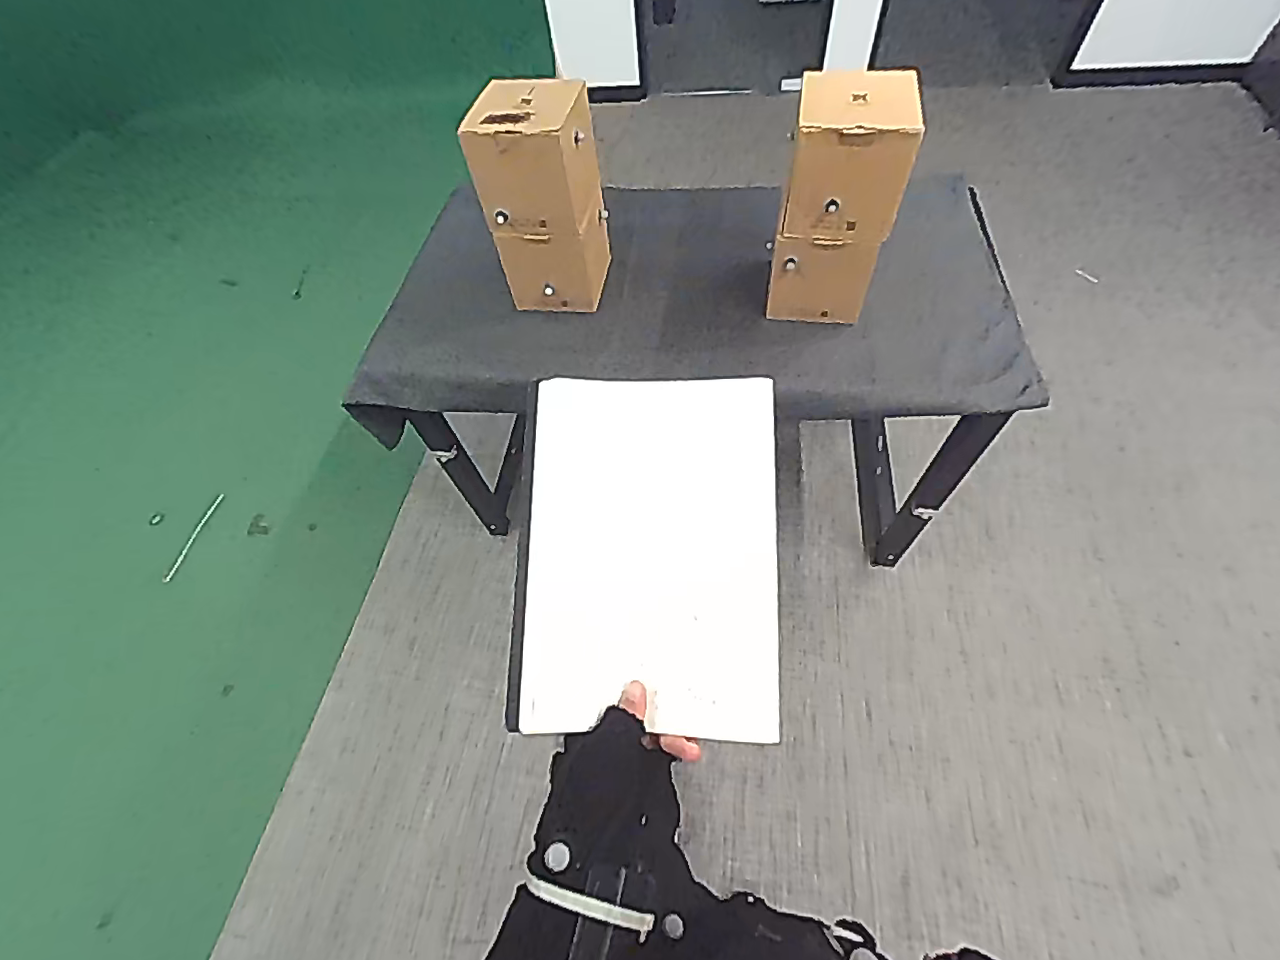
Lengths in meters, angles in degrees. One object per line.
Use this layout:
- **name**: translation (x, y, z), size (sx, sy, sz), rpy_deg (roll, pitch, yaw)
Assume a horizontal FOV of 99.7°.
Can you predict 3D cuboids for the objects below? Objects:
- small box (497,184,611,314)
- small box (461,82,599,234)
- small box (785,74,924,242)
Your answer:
- **small box**: translation (-0.157, -0.451, 1.055), size (0.168, 0.176, 0.179), rpy_deg (4, 58, 9)
- **small box**: translation (-0.173, -0.542, 0.920), size (0.168, 0.176, 0.179), rpy_deg (6, 57, 9)
- **small box**: translation (0.324, -0.503, 0.847), size (0.168, 0.176, 0.179), rpy_deg (7, 58, 10)
